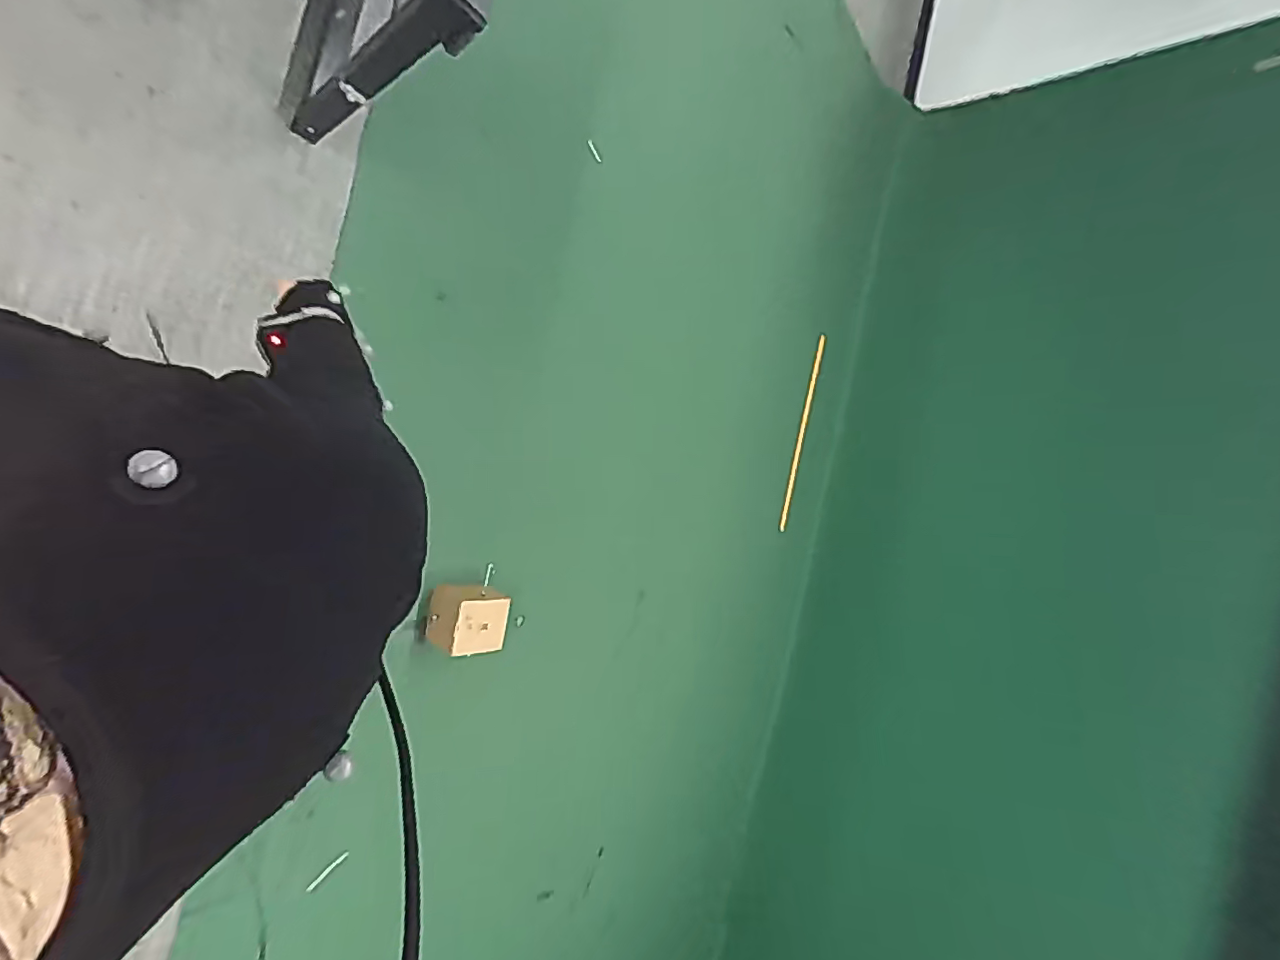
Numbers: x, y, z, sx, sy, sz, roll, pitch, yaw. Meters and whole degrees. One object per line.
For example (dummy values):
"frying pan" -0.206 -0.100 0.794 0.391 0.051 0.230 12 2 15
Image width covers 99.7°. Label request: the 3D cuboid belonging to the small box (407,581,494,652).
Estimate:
"small box" -0.585 0.414 1.668 0.179 0.176 0.168 11 91 -50
